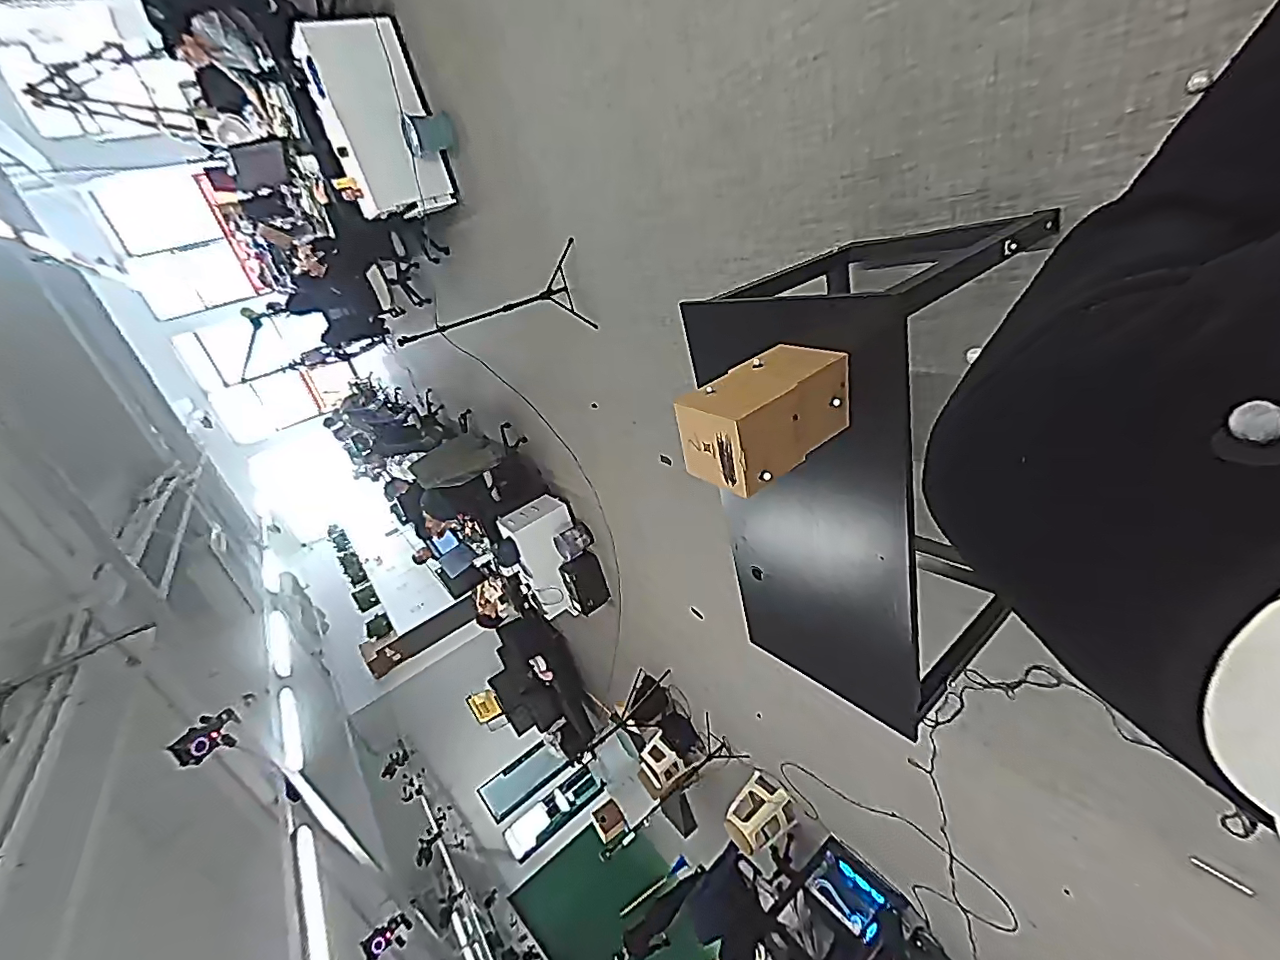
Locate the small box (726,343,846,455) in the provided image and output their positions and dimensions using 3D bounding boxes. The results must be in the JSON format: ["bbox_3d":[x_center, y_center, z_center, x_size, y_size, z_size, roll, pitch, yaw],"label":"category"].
[{"bbox_3d":[0.308,-0.178,1.141,0.179,0.176,0.168,27,140,48],"label":"small box"}]
